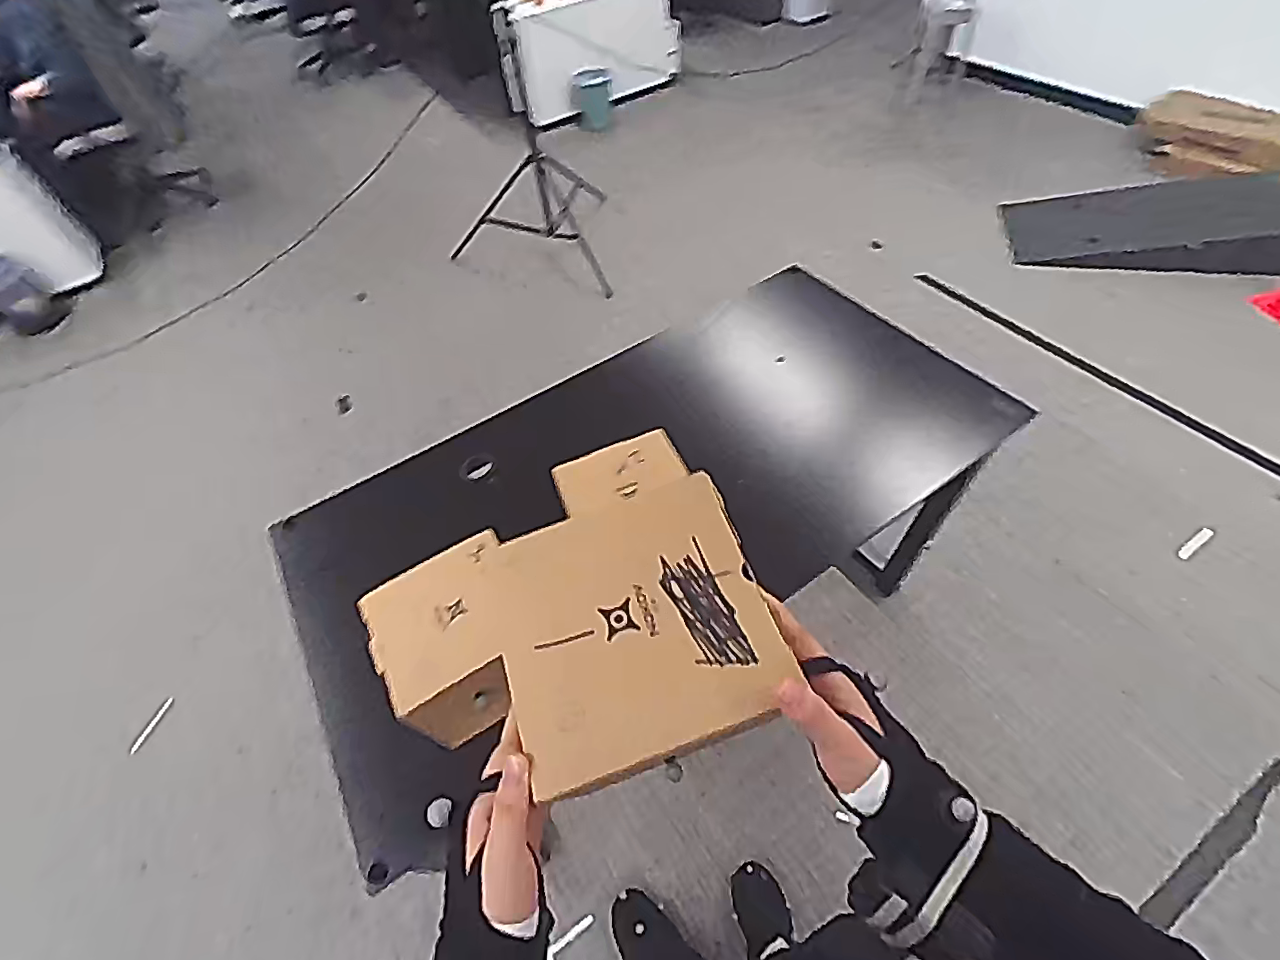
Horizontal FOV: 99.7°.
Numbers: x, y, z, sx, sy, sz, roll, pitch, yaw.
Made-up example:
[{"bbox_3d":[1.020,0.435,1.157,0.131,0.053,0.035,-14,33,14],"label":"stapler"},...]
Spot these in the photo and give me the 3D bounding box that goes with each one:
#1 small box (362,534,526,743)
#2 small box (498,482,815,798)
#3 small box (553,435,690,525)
[{"bbox_3d":[-0.218,0.210,0.702,0.179,0.176,0.168,-30,56,-15],"label":"small box"},{"bbox_3d":[0.009,0.130,0.429,0.179,0.176,0.168,-18,61,-4],"label":"small box"},{"bbox_3d":[-0.010,0.071,0.783,0.168,0.176,0.179,-21,53,-10],"label":"small box"}]
